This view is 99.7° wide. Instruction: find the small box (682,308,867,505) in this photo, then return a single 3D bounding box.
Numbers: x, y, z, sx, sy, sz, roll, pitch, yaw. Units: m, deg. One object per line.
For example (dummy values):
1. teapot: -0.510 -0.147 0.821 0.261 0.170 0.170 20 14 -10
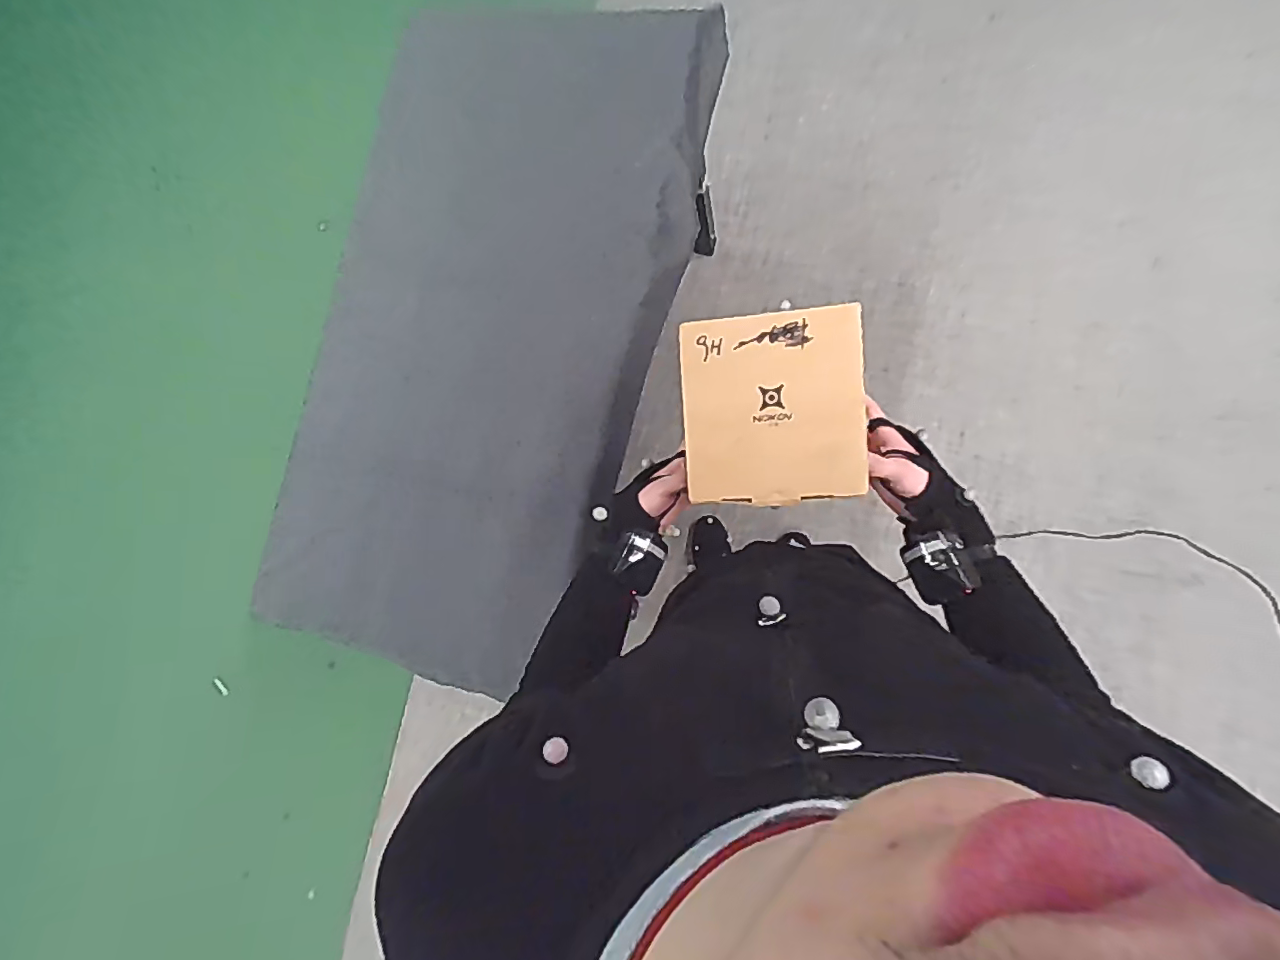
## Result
1. small box: 0.140 -0.070 0.578 0.168 0.176 0.179 -2 93 12
